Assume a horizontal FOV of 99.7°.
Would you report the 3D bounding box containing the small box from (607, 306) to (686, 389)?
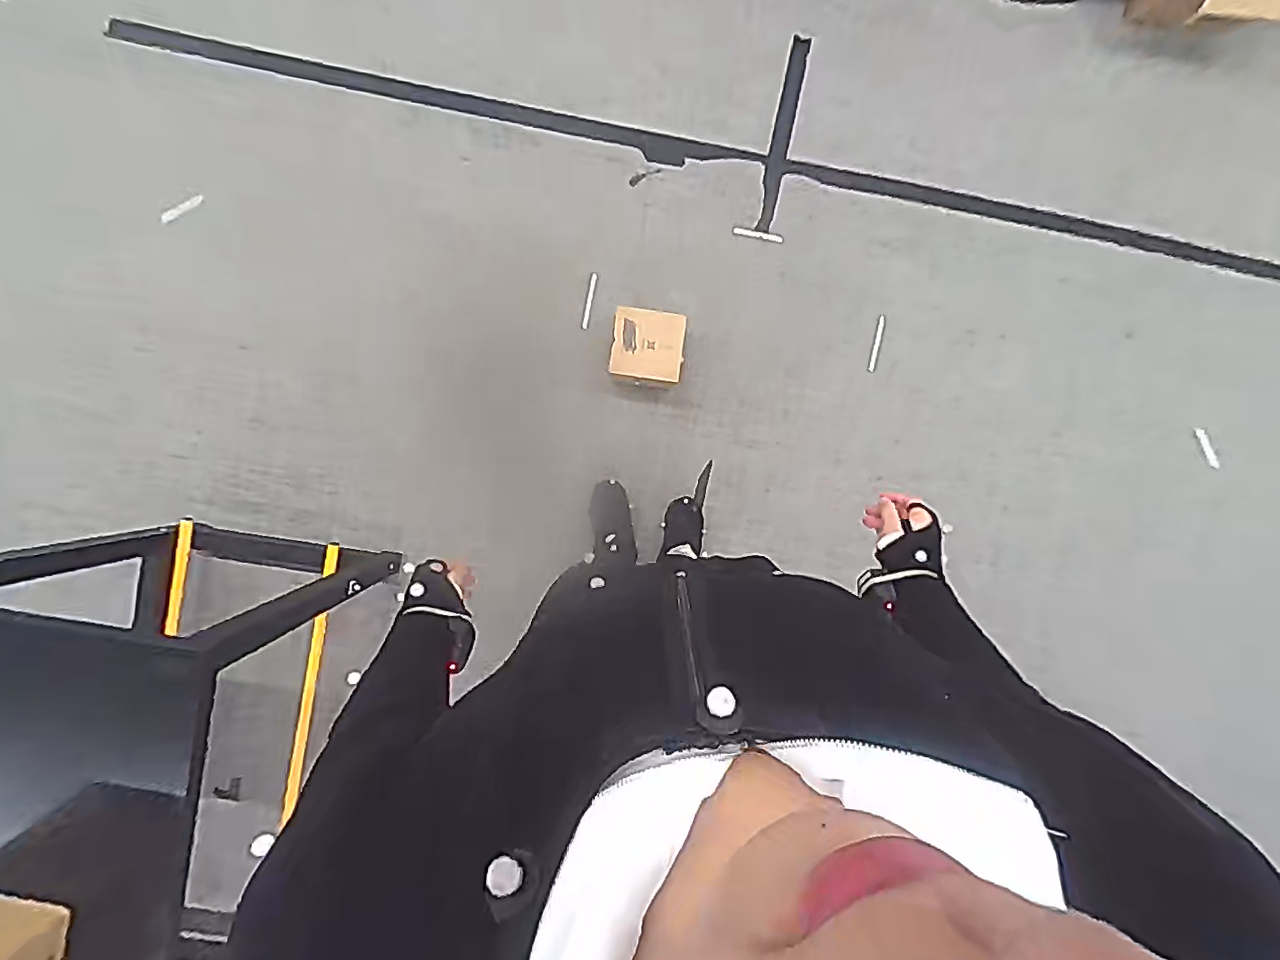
[{"bbox_3d":[0.013,-0.335,1.396,0.179,0.176,0.168,8,93,-3],"label":"small box"}]
